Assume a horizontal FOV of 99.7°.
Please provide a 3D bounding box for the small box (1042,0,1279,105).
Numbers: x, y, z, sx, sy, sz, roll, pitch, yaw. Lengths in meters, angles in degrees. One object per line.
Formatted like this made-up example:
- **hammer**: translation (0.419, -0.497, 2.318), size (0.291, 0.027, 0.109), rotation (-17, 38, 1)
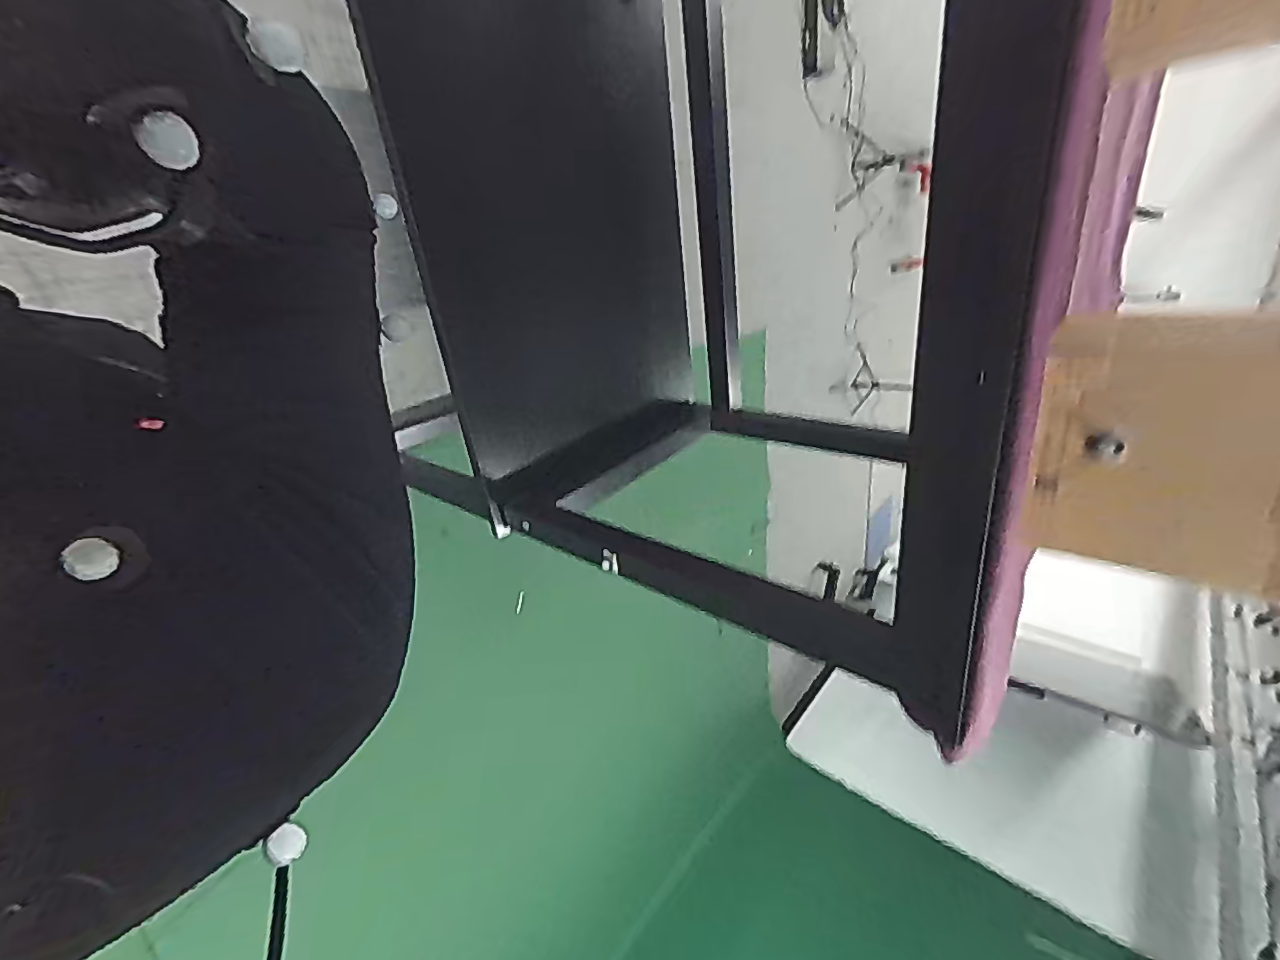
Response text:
- **small box**: translation (0.355, -0.328, 0.302), size (0.179, 0.176, 0.168), rotation (-28, 122, -40)
